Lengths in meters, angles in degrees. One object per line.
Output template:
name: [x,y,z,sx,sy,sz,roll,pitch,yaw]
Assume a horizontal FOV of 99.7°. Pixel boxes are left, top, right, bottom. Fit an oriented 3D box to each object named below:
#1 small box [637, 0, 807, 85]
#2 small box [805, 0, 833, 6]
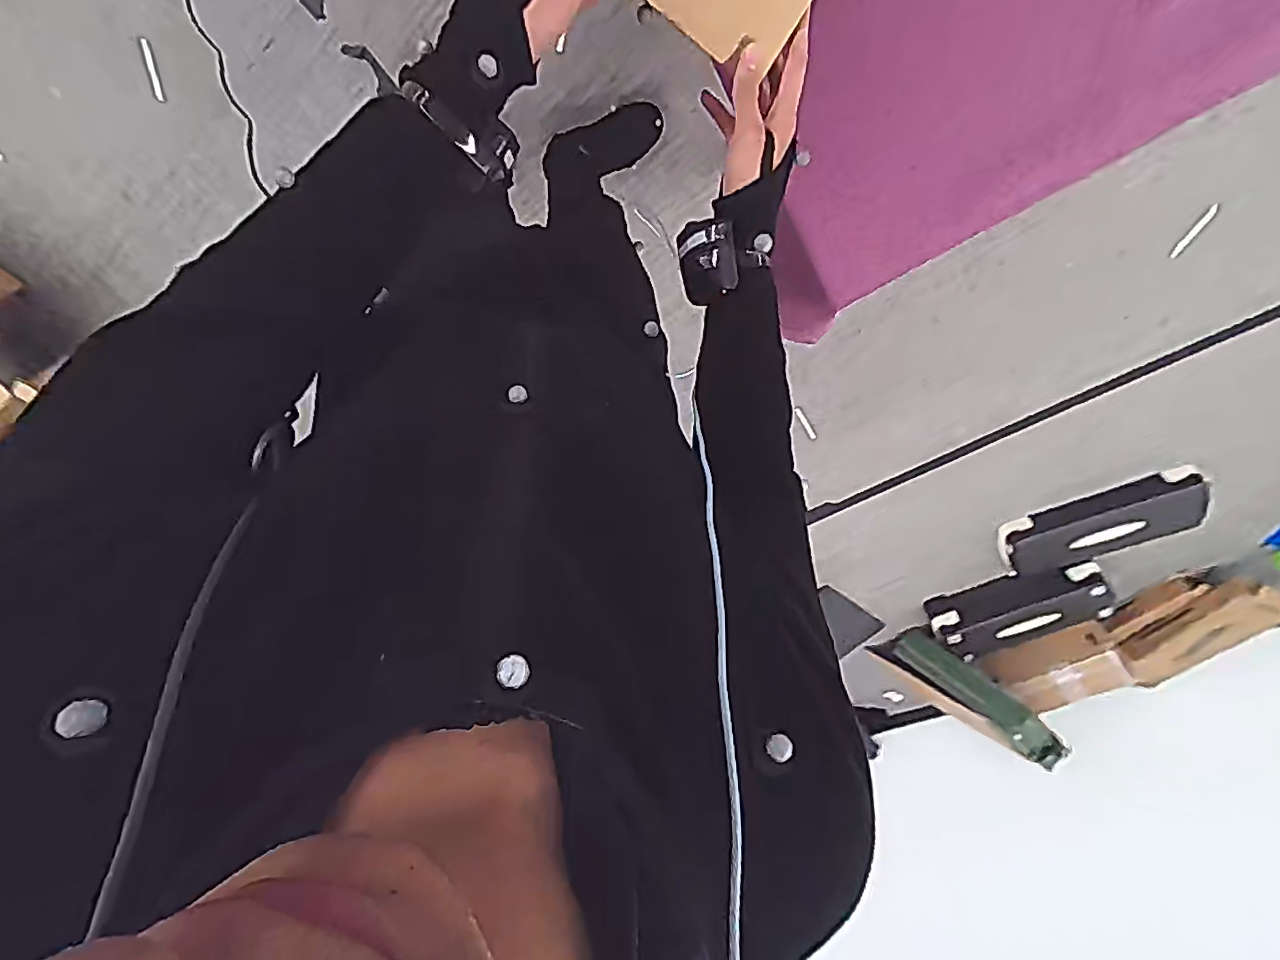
small box: [0.054,-0.454,0.417,0.179,0.176,0.168,20,129,-25]
small box: [0.332,-0.928,0.890,0.179,0.176,0.168,-27,127,20]
